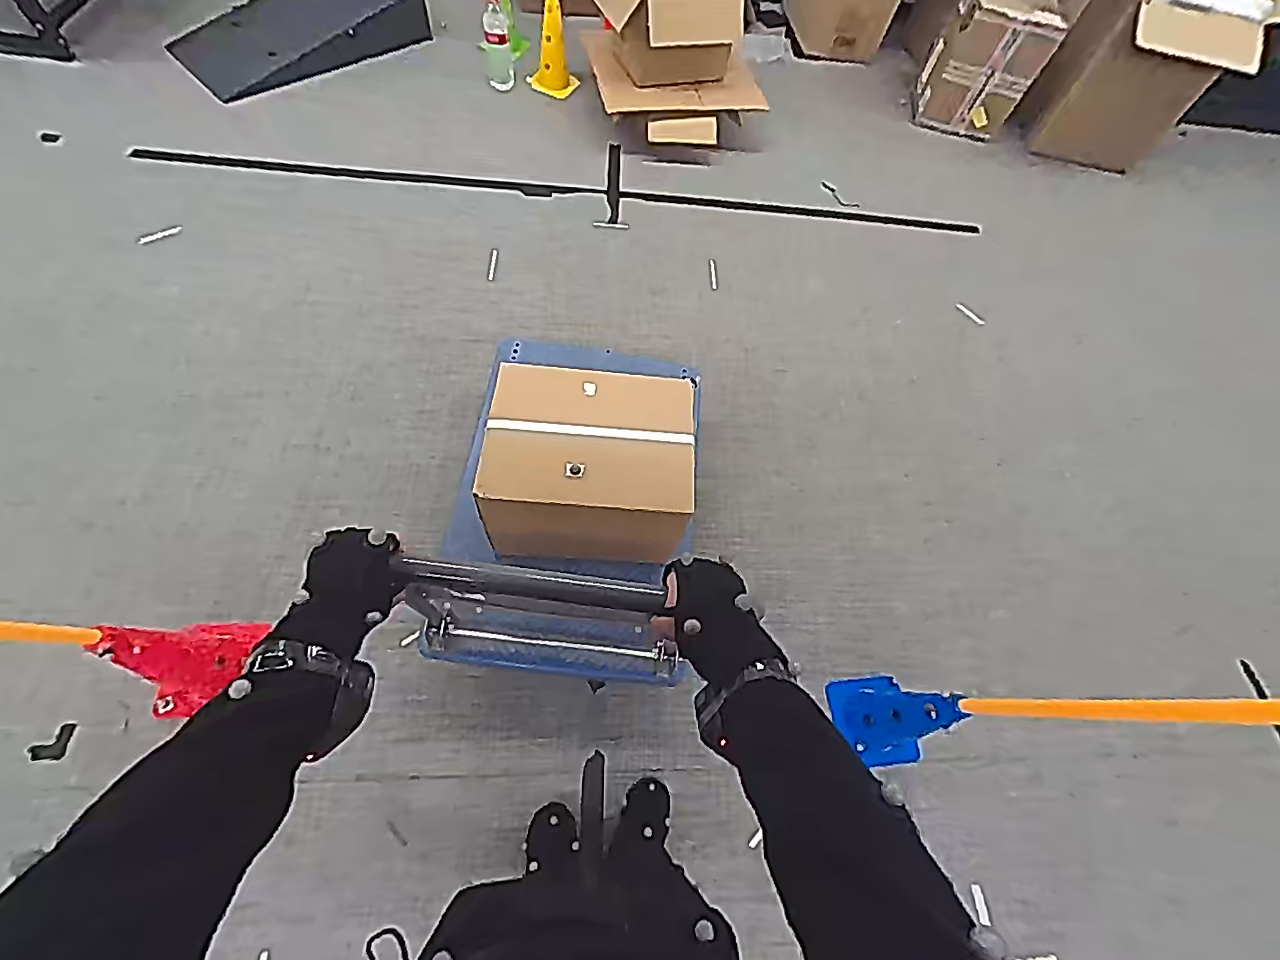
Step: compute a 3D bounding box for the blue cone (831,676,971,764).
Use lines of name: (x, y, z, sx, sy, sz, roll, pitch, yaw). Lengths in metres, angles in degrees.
blue cone: (0.599, 0.509, 1.190, 0.193, 0.380, 0.192, -1, 61, -9)
